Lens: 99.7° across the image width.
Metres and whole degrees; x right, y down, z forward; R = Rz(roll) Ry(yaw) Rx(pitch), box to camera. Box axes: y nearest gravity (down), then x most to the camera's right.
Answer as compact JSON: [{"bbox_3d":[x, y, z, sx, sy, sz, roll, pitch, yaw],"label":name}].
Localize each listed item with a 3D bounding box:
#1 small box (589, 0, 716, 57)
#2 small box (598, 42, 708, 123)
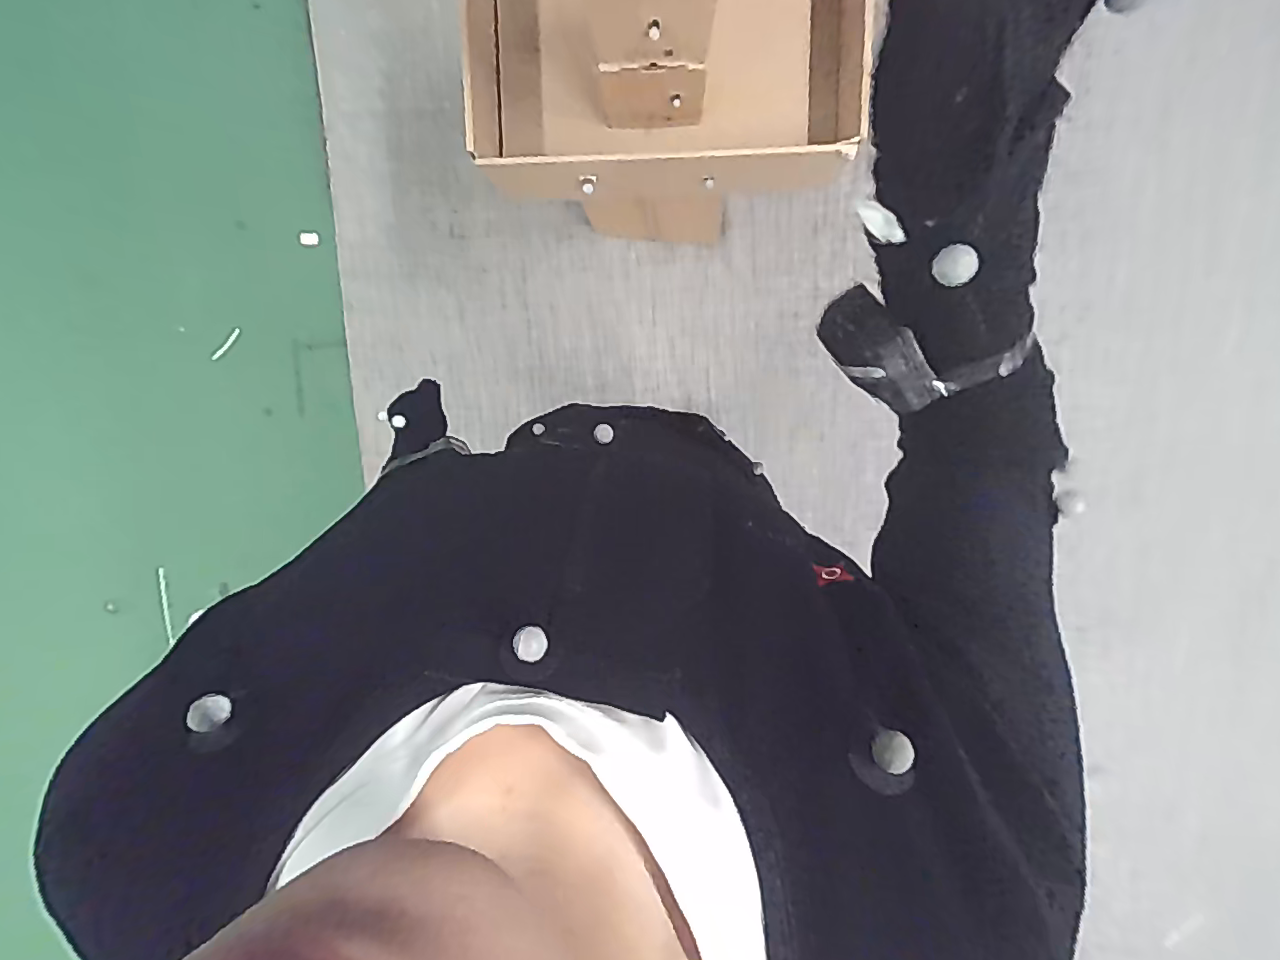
[{"bbox_3d":[0.017,-0.691,0.705,0.168,0.176,0.179,-1,98,2],"label":"small box"},{"bbox_3d":[0.021,-0.703,0.869,0.168,0.176,0.179,-1,96,2],"label":"small box"}]
